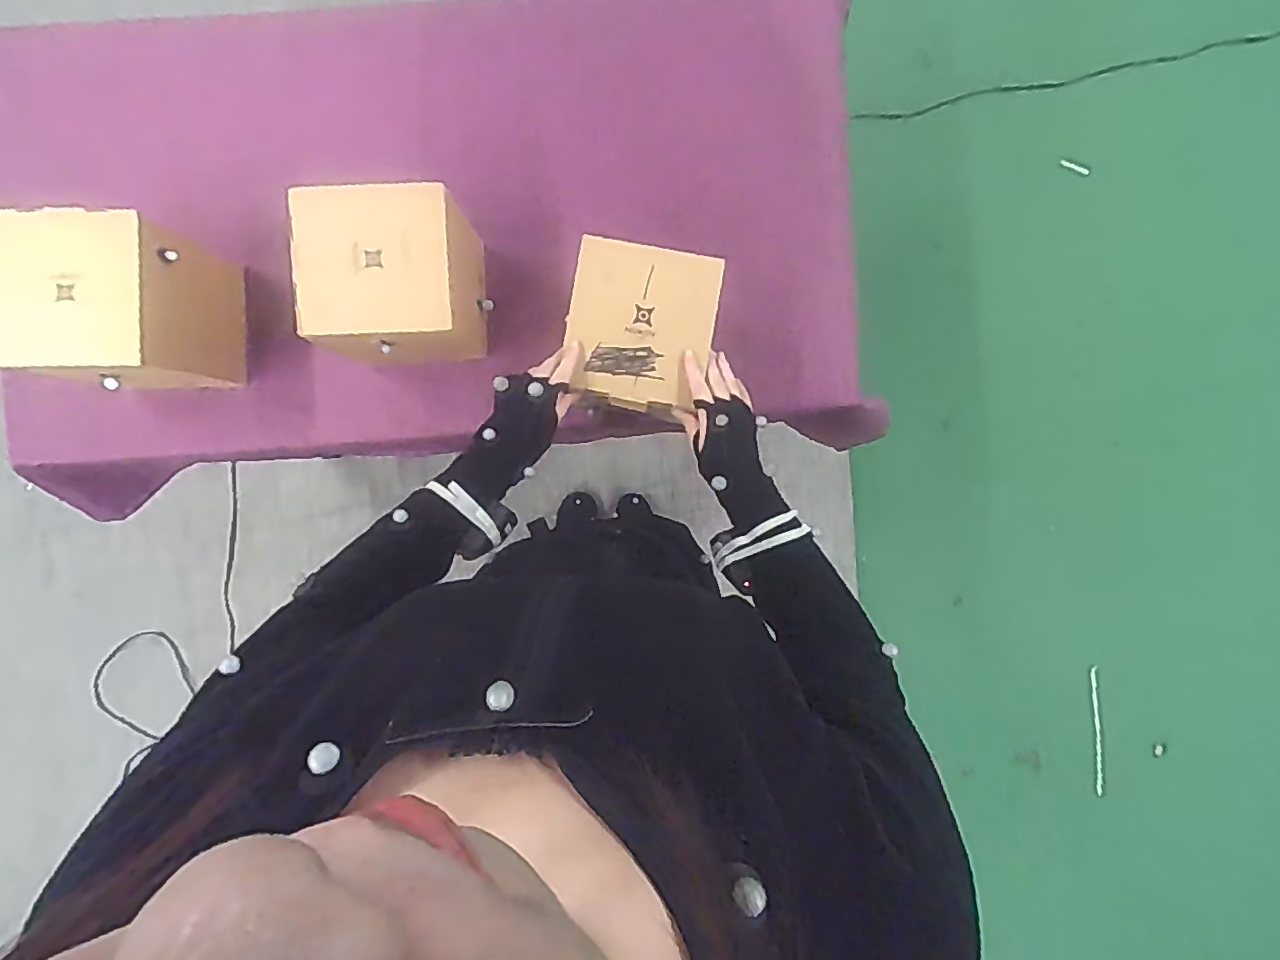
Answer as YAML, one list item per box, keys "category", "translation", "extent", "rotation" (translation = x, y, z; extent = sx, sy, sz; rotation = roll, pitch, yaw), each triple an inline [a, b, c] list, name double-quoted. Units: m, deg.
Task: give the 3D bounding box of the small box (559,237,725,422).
- category: "small box"
  translation: [0.003, -0.176, 0.688]
  extent: [0.168, 0.176, 0.179]
  rotation: [10, 90, 0]

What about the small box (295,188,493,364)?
- category: "small box"
  translation: [-0.298, -0.245, 0.687]
  extent: [0.179, 0.176, 0.168]
  rotation: [-2, 92, 0]

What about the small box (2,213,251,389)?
- category: "small box"
  translation: [-0.631, -0.213, 0.686]
  extent: [0.168, 0.176, 0.179]
  rotation: [0, 90, 0]
